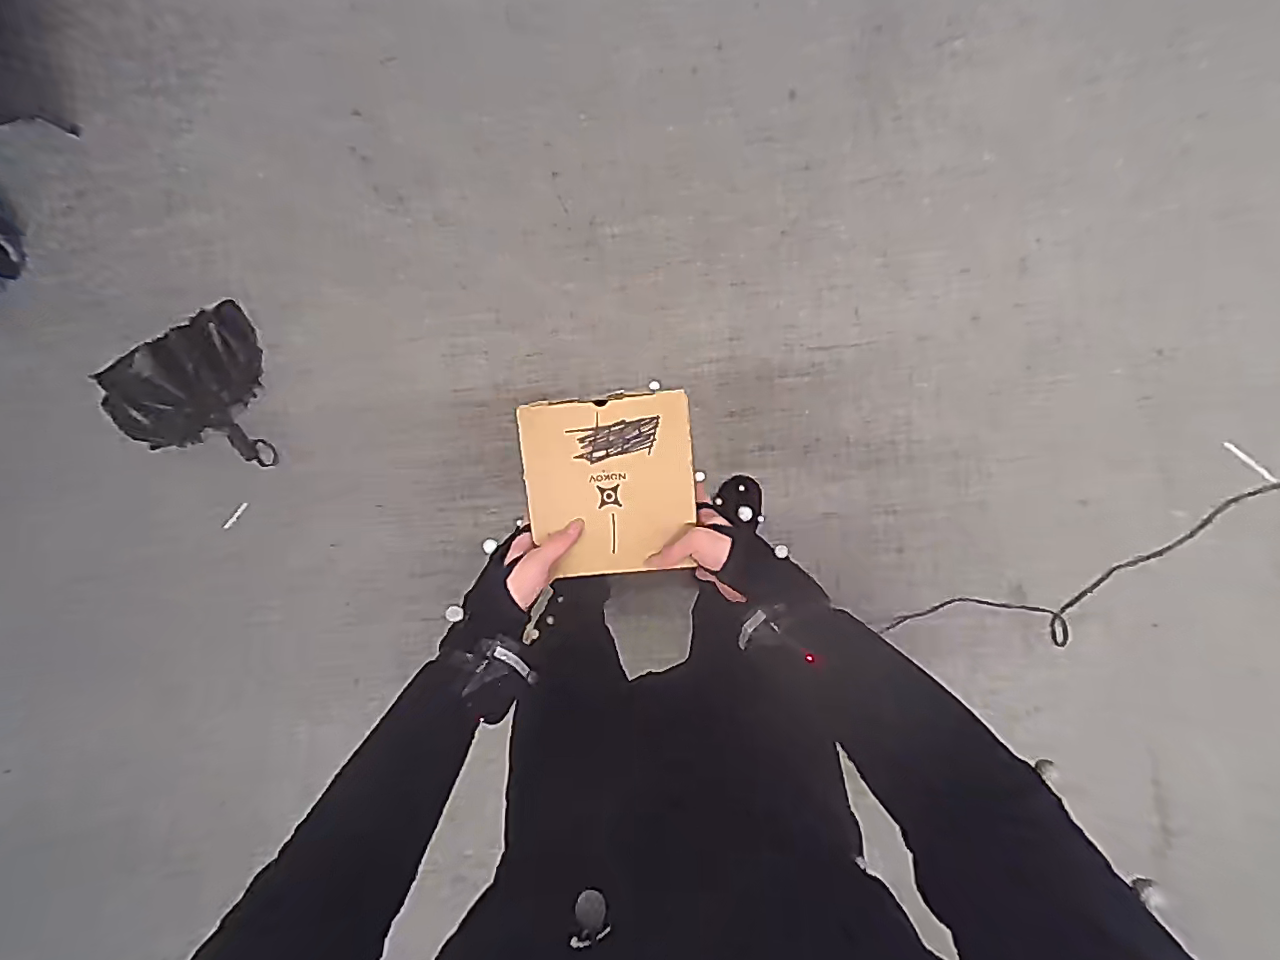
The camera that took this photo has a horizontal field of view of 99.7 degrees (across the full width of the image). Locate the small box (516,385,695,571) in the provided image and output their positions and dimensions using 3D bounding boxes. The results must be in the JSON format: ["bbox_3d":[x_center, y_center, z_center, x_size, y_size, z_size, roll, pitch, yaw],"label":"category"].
[{"bbox_3d":[-0.030,-0.011,0.613,0.168,0.176,0.179,-5,99,5],"label":"small box"}]
